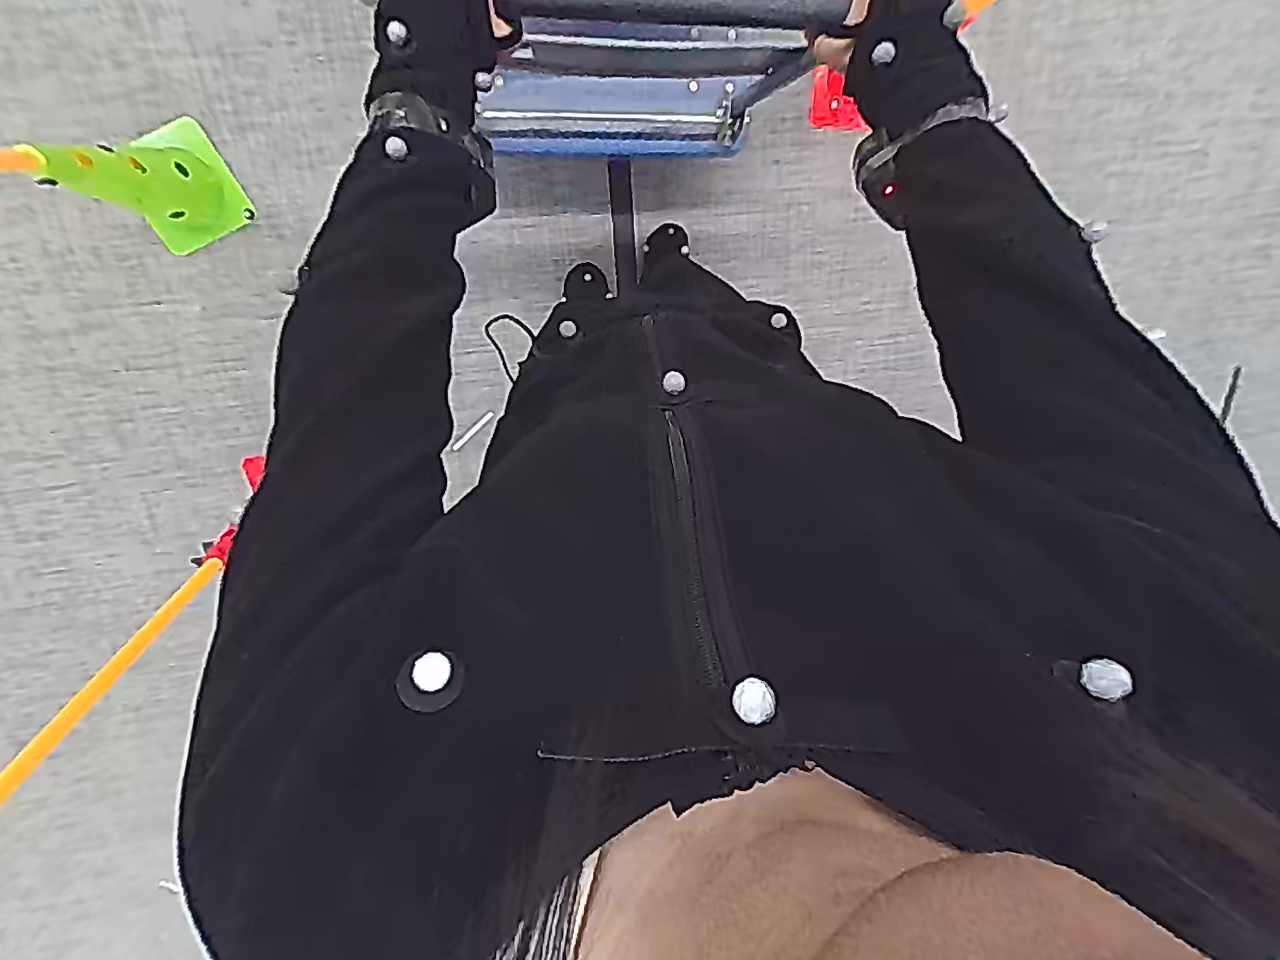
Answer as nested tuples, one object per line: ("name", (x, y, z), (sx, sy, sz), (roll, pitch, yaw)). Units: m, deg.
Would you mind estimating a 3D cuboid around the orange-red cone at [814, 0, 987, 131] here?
("orange-red cone", (0.514, -0.819, 1.027), (0.199, 0.360, 0.198), (-1, 113, -10))
